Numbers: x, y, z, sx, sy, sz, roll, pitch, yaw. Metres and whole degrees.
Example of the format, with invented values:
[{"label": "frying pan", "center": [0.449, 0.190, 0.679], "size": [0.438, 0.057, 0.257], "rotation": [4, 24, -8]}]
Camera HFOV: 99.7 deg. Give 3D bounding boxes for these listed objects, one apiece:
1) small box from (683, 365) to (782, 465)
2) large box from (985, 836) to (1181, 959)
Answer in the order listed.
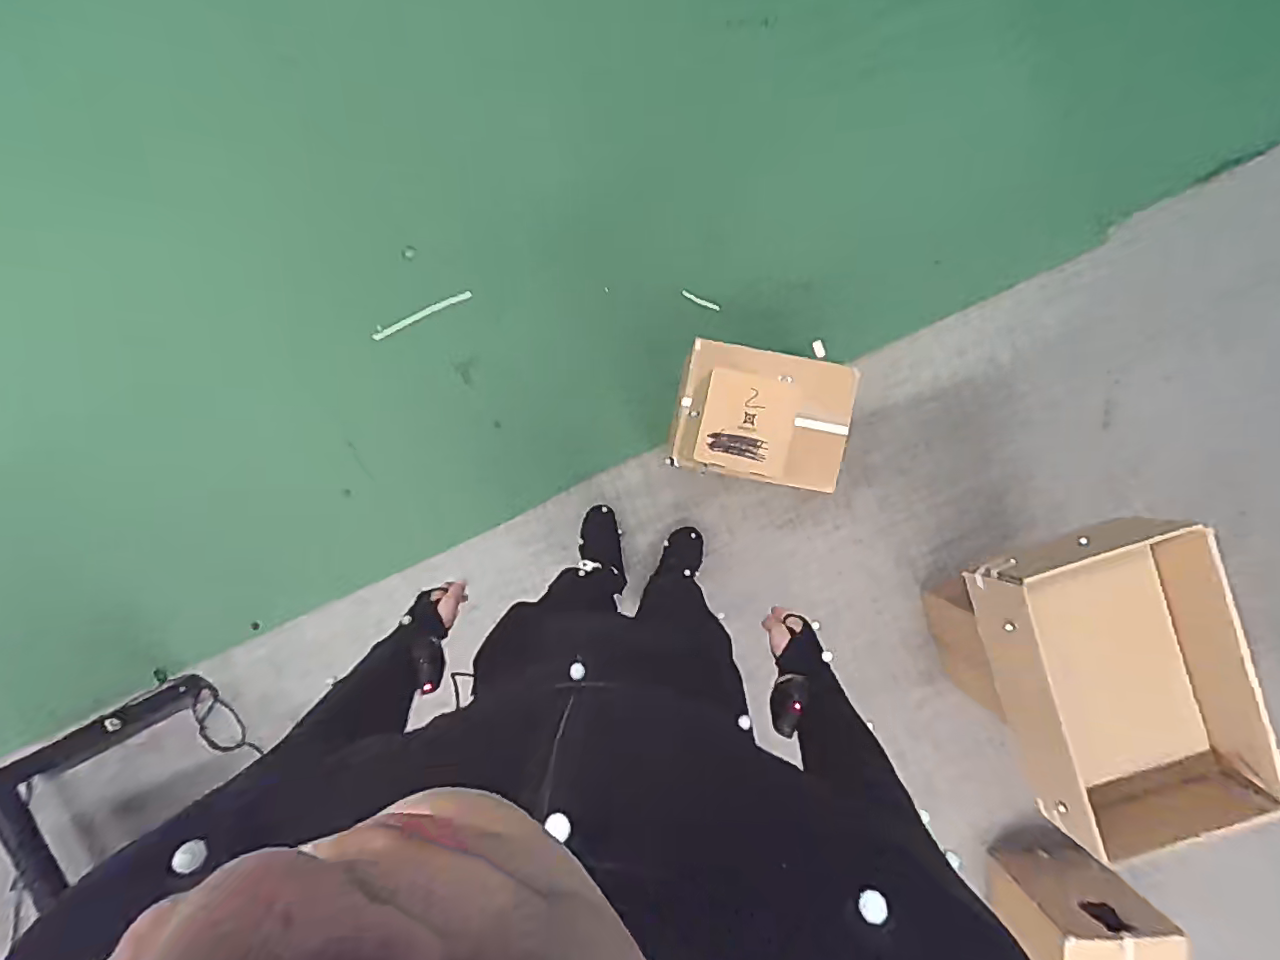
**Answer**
[{"label": "small box", "center": [0.197, -0.139, 1.202], "size": [0.168, 0.176, 0.179], "rotation": [14, 92, -2]}, {"label": "large box", "center": [1.216, 1.297, 1.515], "size": [0.320, 0.320, 0.408], "rotation": [-2, 91, -1]}]
